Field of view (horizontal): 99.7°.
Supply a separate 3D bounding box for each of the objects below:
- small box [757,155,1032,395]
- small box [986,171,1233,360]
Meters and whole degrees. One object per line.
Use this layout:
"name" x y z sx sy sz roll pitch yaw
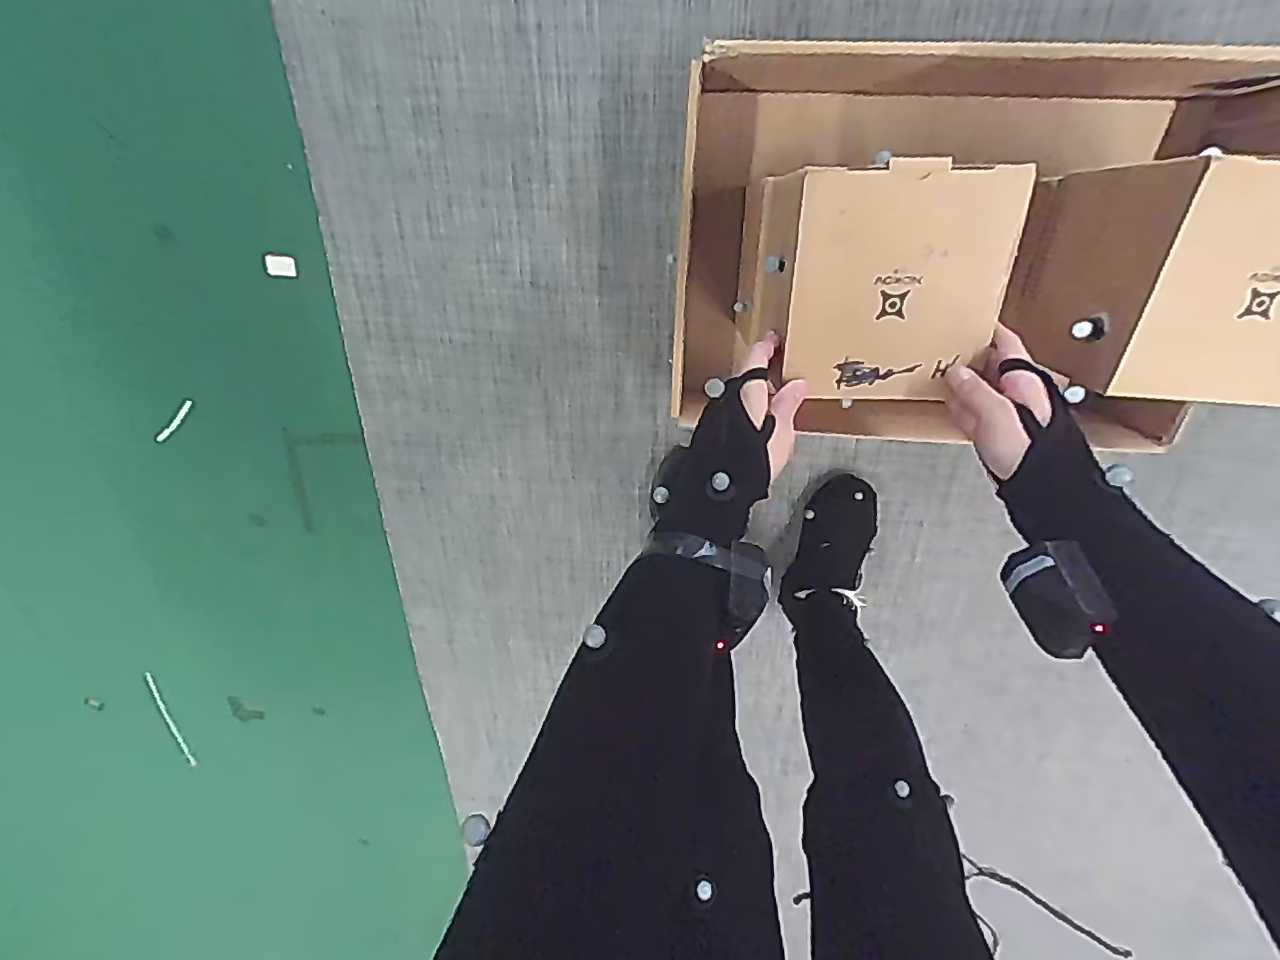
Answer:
"small box" 0.203 -0.187 0.494 0.168 0.176 0.179 2 117 4
"small box" 0.487 -0.251 0.626 0.168 0.176 0.179 4 117 3
